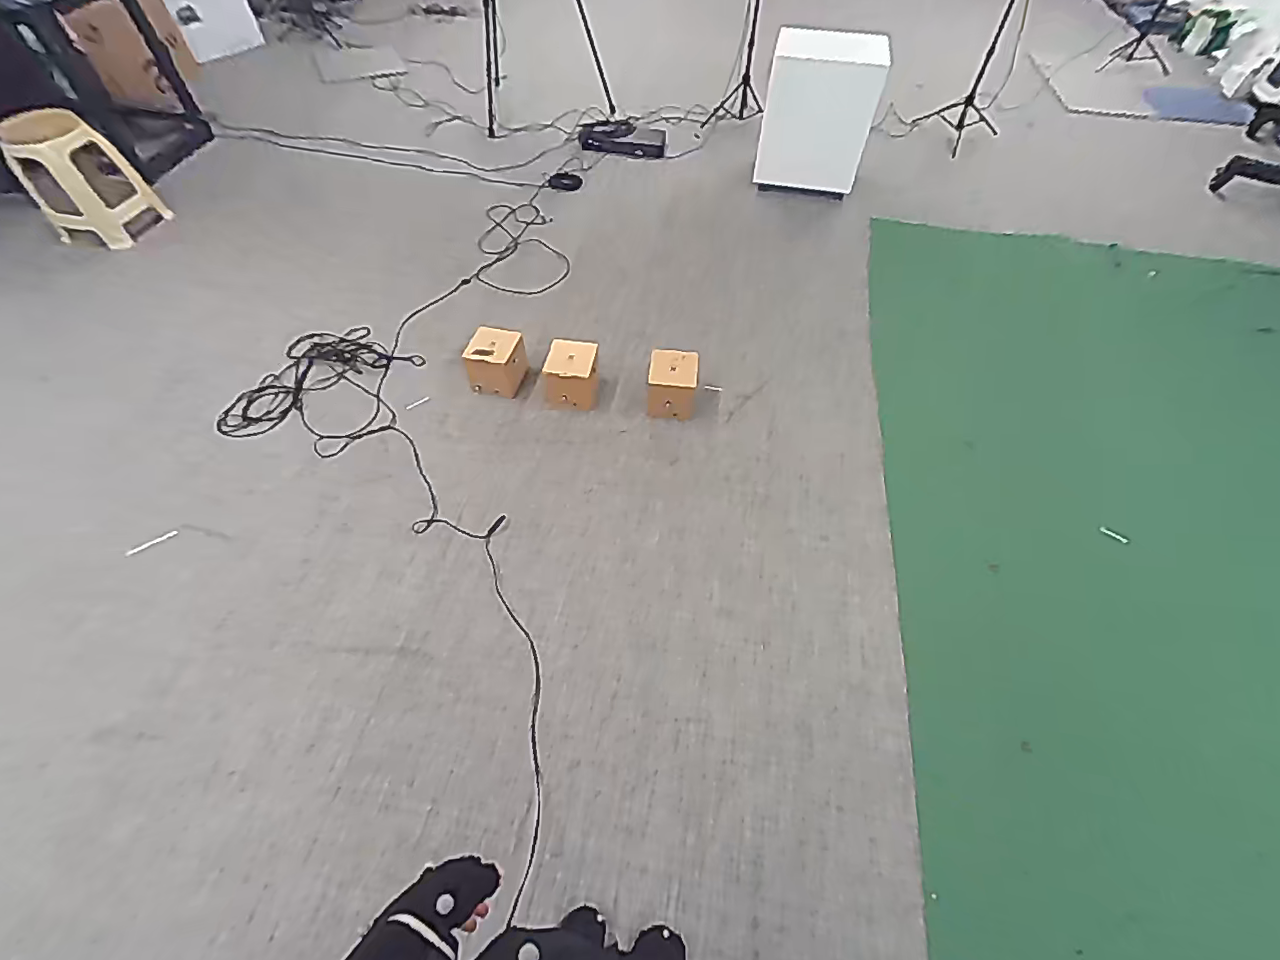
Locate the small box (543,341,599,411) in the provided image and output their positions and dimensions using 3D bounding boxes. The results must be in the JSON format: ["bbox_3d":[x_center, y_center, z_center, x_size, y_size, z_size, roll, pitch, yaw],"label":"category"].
[{"bbox_3d":[-0.246,-0.378,1.970,0.168,0.176,0.179,7,55,4],"label":"small box"}]

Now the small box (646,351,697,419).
[{"bbox_3d":[0.111,-0.338,1.944,0.168,0.176,0.179,6,55,3],"label":"small box"}]

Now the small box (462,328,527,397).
[{"bbox_3d":[-0.530,-0.431,2.002,0.168,0.176,0.179,11,54,7],"label":"small box"}]
